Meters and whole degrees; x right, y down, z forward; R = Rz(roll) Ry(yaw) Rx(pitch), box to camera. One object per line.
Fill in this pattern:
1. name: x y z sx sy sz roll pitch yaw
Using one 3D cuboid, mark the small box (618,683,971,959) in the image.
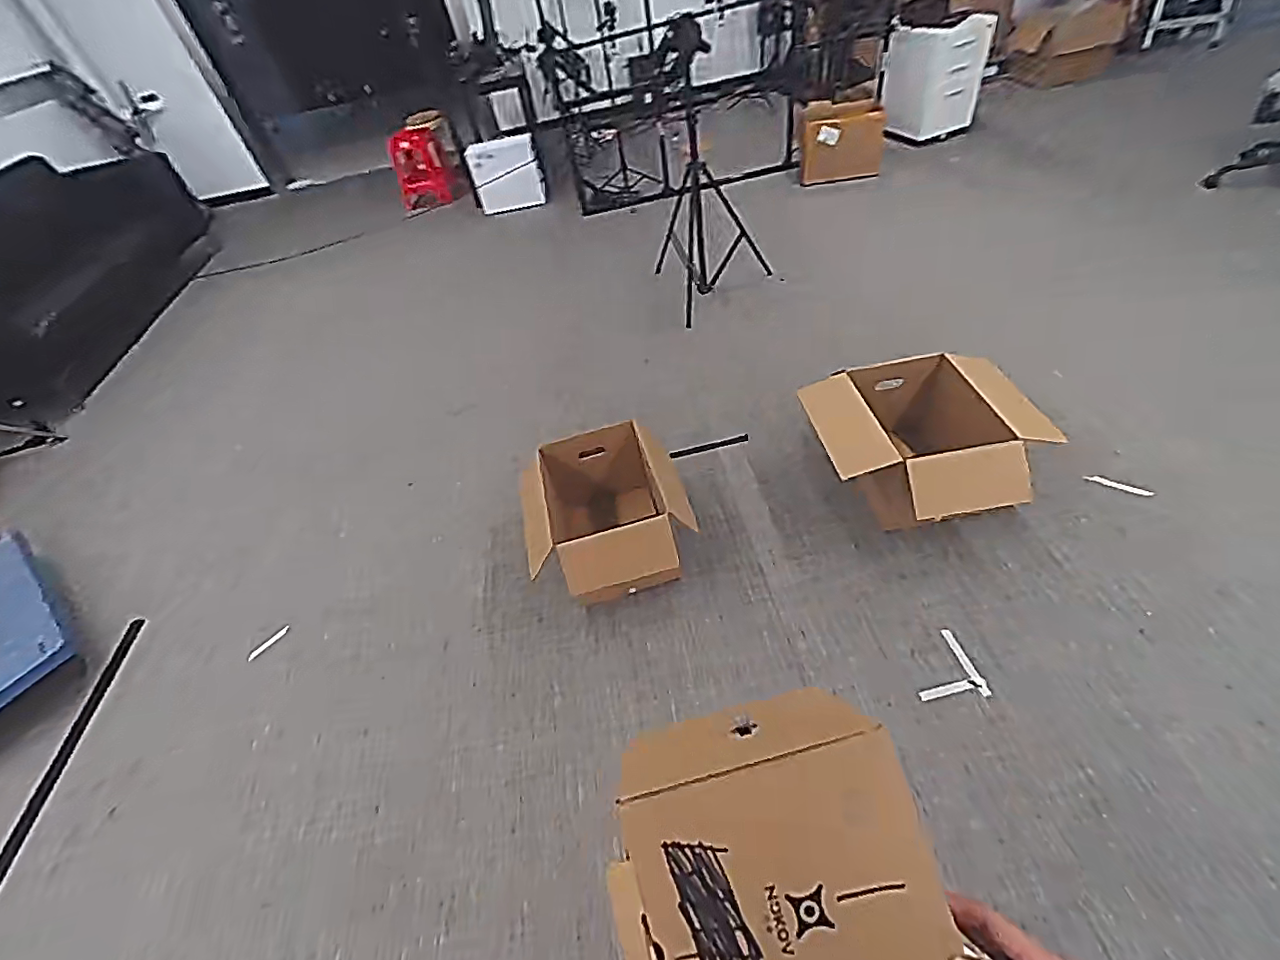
1. small box: 0.093 0.260 0.391 0.179 0.176 0.168 -15 78 -2
